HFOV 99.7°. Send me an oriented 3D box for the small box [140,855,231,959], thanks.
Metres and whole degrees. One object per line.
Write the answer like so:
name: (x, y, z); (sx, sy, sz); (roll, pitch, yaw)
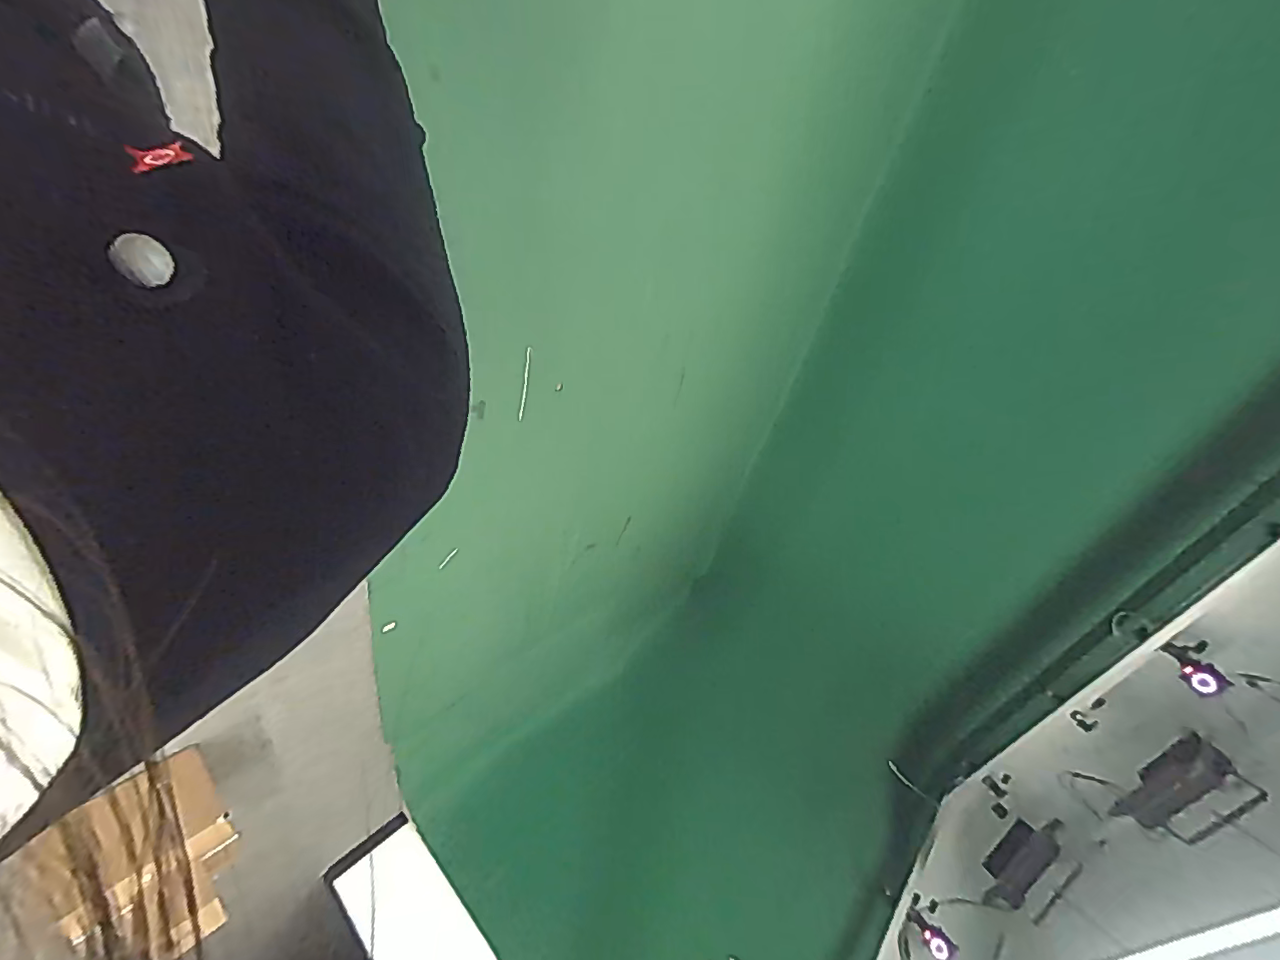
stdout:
small box: (-1.403, 1.321, 1.668); (0.179, 0.176, 0.168); (-21, 136, -47)
